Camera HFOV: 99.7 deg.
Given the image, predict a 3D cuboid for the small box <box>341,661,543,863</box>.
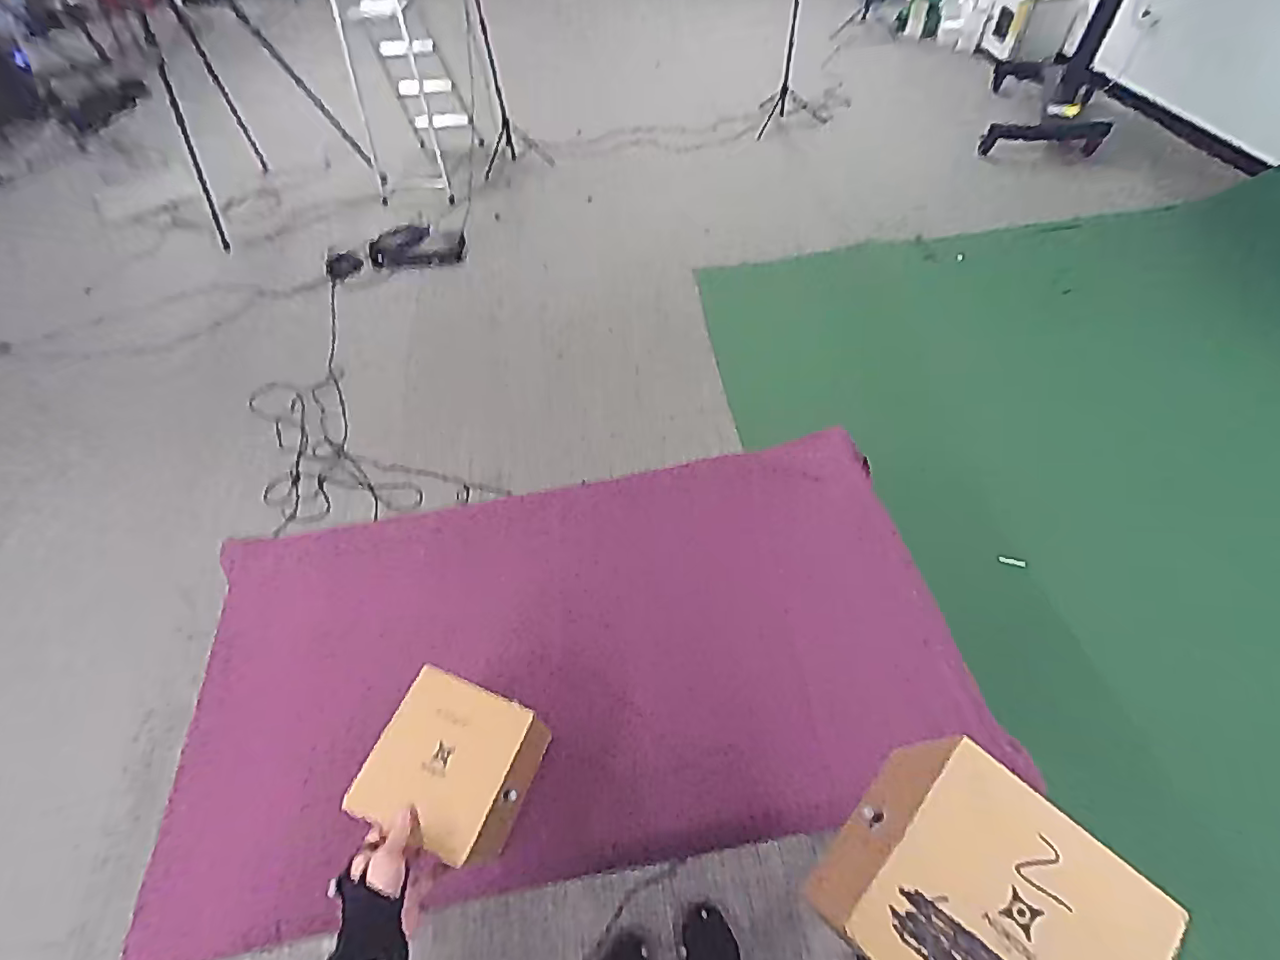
[{"bbox_3d":[-0.245,0.376,0.725,0.168,0.176,0.179,20,59,12],"label":"small box"}]
